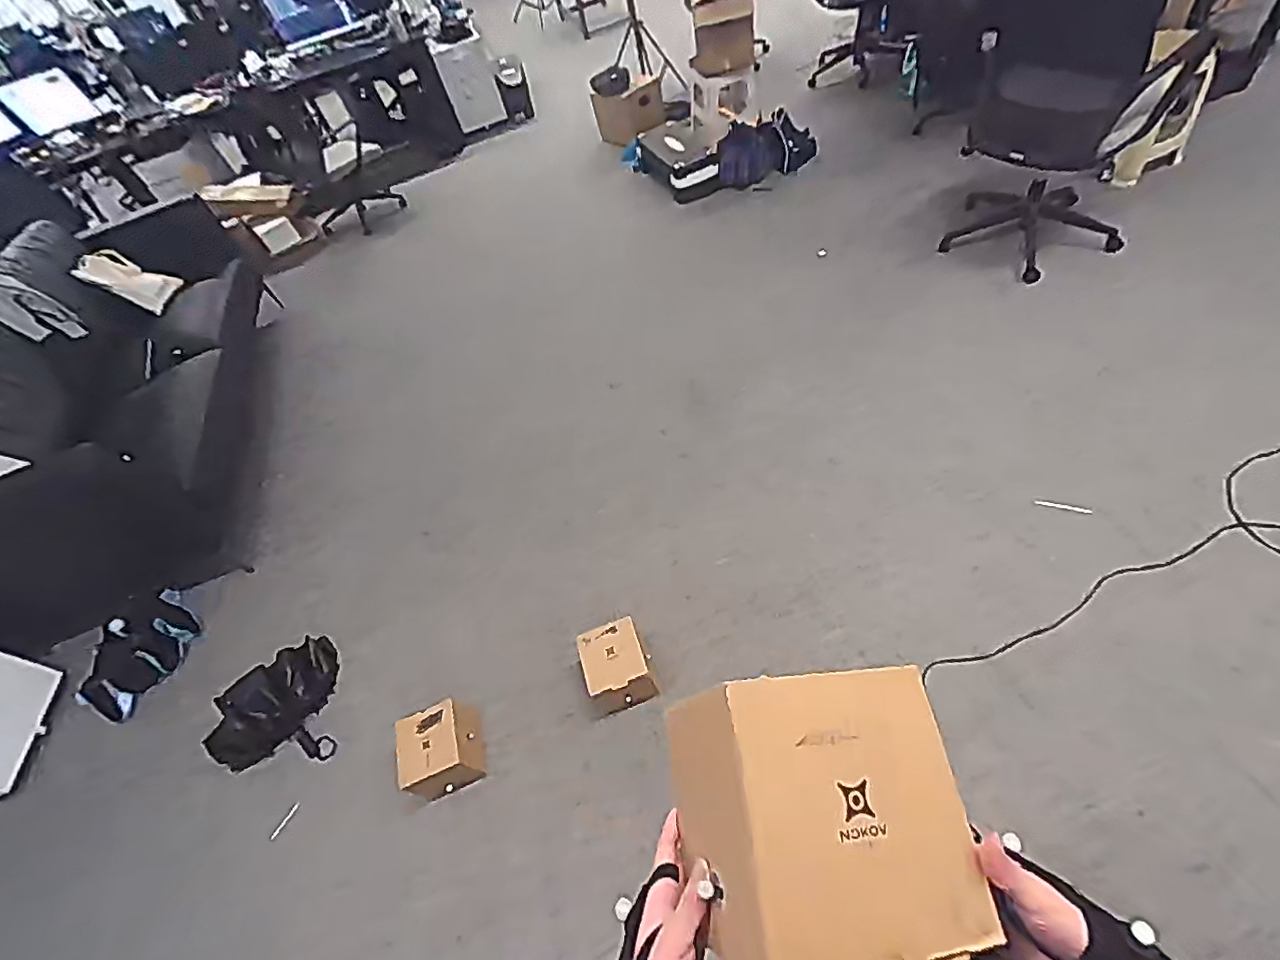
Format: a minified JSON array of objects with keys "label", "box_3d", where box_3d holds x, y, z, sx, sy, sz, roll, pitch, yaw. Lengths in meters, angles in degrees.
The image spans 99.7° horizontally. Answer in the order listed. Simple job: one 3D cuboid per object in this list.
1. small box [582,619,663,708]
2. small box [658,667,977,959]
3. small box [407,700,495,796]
[{"label":"small box","box_3d":[-0.045,0.524,1.524,0.168,0.176,0.179,-22,51,0]},{"label":"small box","box_3d":[0.121,0.266,0.449,0.168,0.176,0.179,0,60,-15]},{"label":"small box","box_3d":[-0.520,0.743,1.494,0.168,0.176,0.179,-24,52,-2]}]
